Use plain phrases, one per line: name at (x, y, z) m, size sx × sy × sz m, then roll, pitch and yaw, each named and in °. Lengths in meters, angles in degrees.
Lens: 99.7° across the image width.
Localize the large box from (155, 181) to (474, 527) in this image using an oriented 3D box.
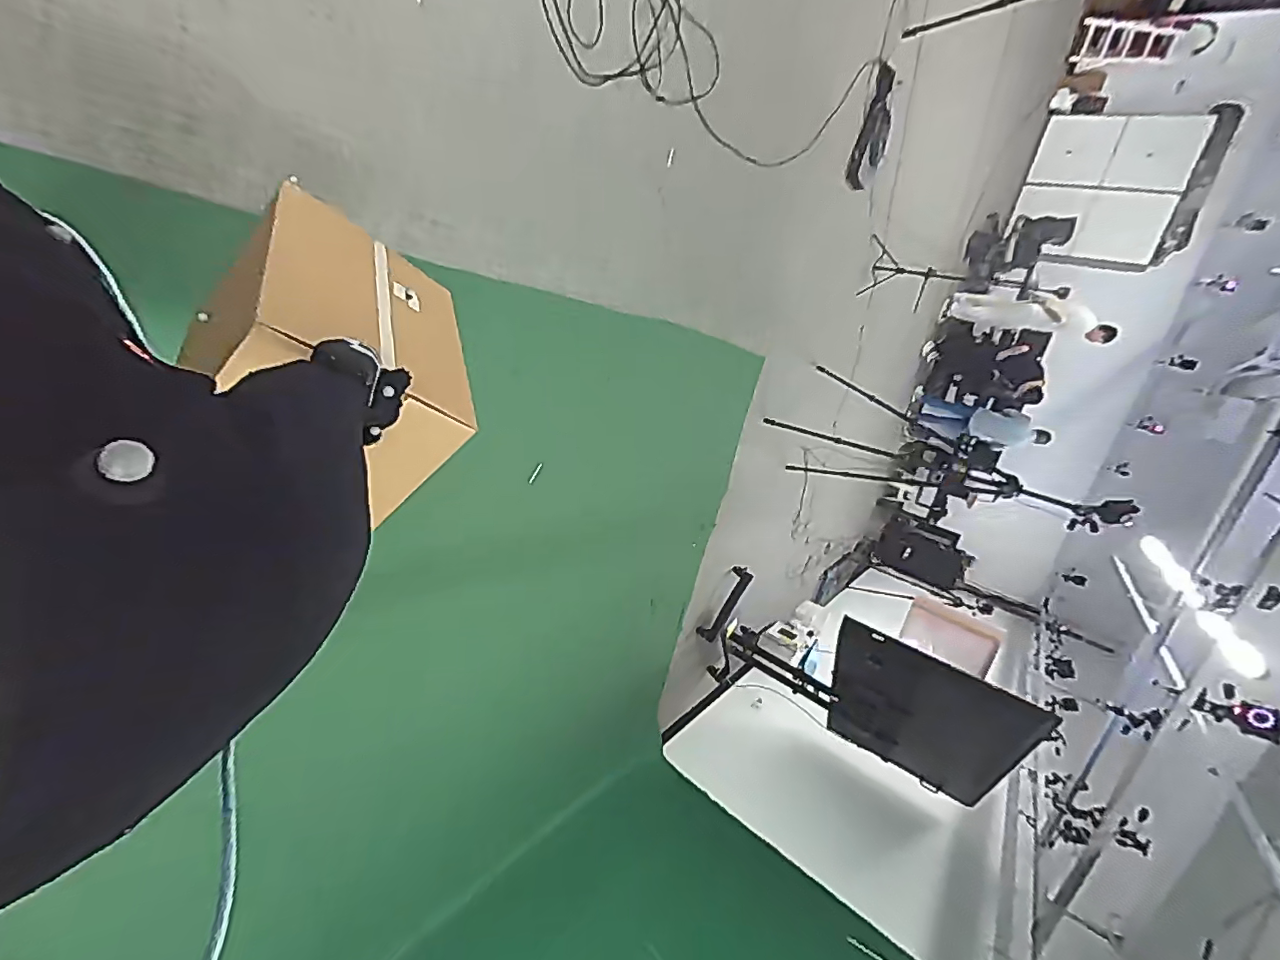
large box at (-0.524, -0.191, 0.901) m, size 0.320 × 0.408 × 0.320 m, roll -38°, pitch 141°, yaw 19°
